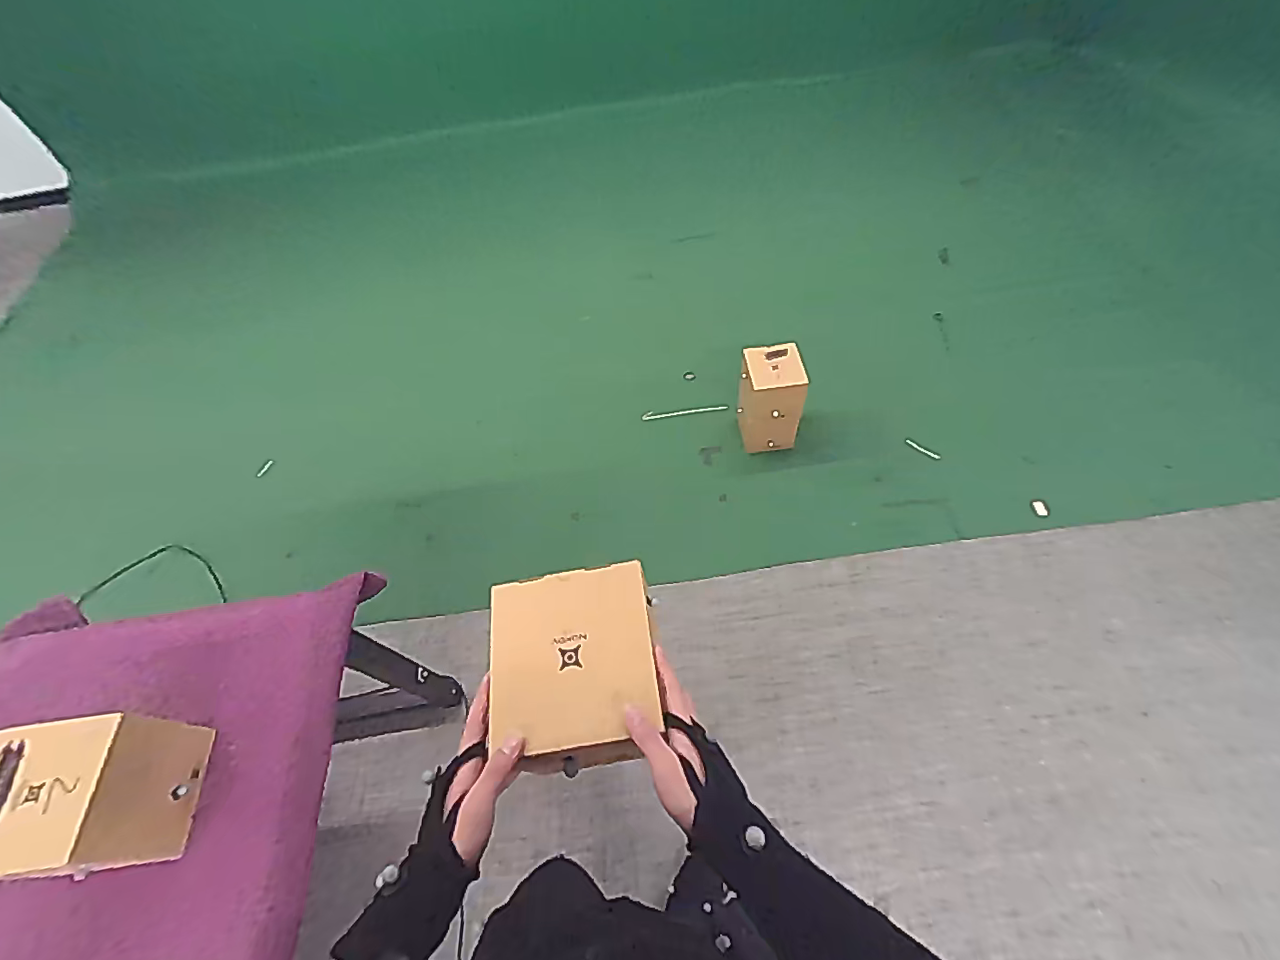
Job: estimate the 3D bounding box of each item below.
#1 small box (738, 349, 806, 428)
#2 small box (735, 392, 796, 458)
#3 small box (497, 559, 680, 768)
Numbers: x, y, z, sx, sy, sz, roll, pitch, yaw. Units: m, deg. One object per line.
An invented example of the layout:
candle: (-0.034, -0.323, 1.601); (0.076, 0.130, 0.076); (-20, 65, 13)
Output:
small box: (0.414, -0.289, 1.725); (0.168, 0.176, 0.179); (-7, 57, 1)
small box: (0.425, -0.200, 1.862); (0.168, 0.176, 0.179); (-7, 57, 1)
small box: (-0.052, 0.211, 0.601); (0.168, 0.176, 0.179); (-10, 56, 0)
